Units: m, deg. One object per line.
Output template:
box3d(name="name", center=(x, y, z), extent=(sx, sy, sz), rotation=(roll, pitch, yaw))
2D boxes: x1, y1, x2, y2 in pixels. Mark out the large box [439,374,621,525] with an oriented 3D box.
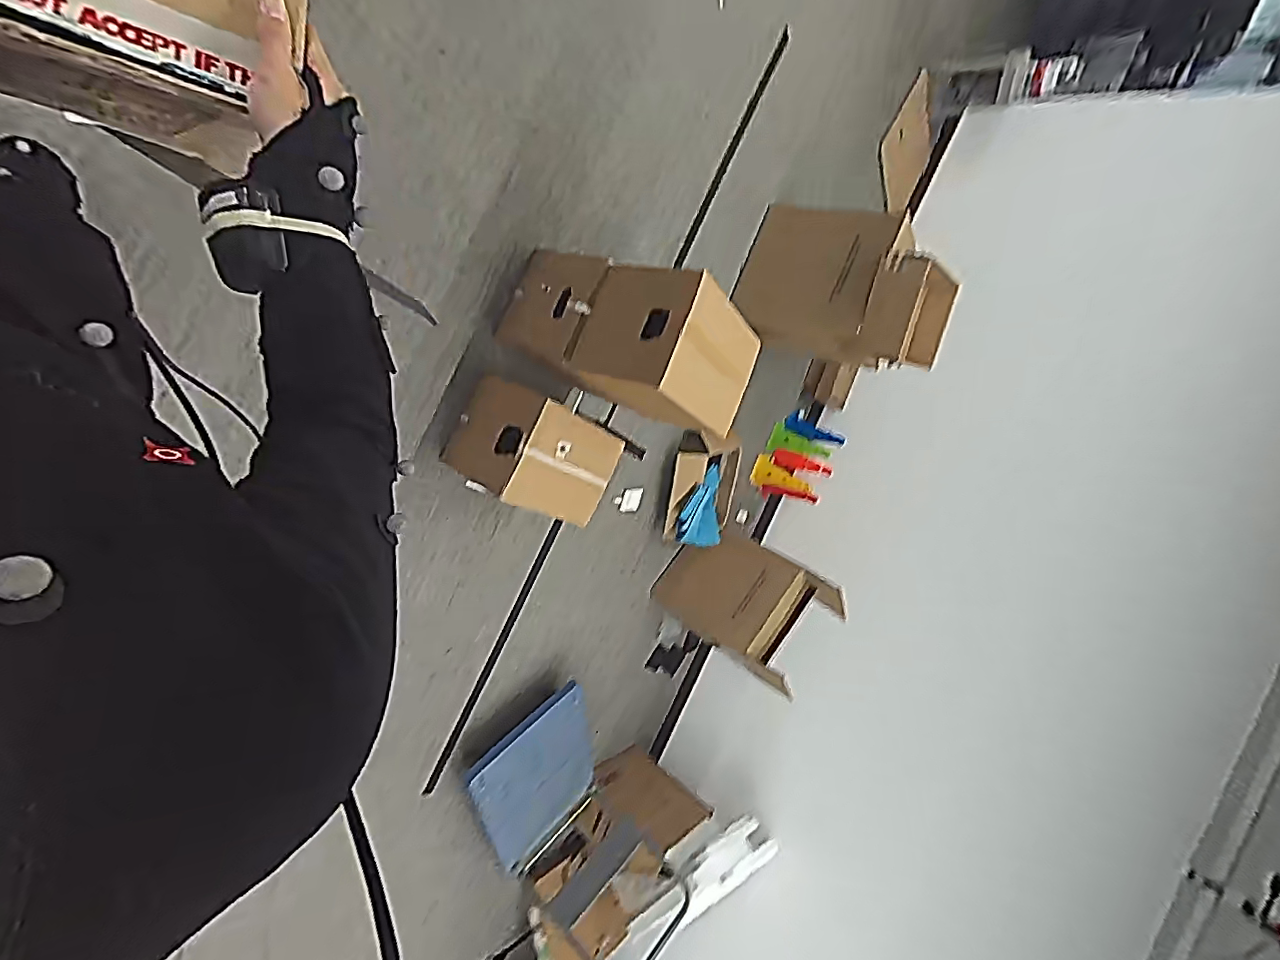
box3d(name="large box", center=(-0.337, -0.087, 1.706), extent=(0.408, 0.320, 0.320), rotation=(26, 88, -55))
